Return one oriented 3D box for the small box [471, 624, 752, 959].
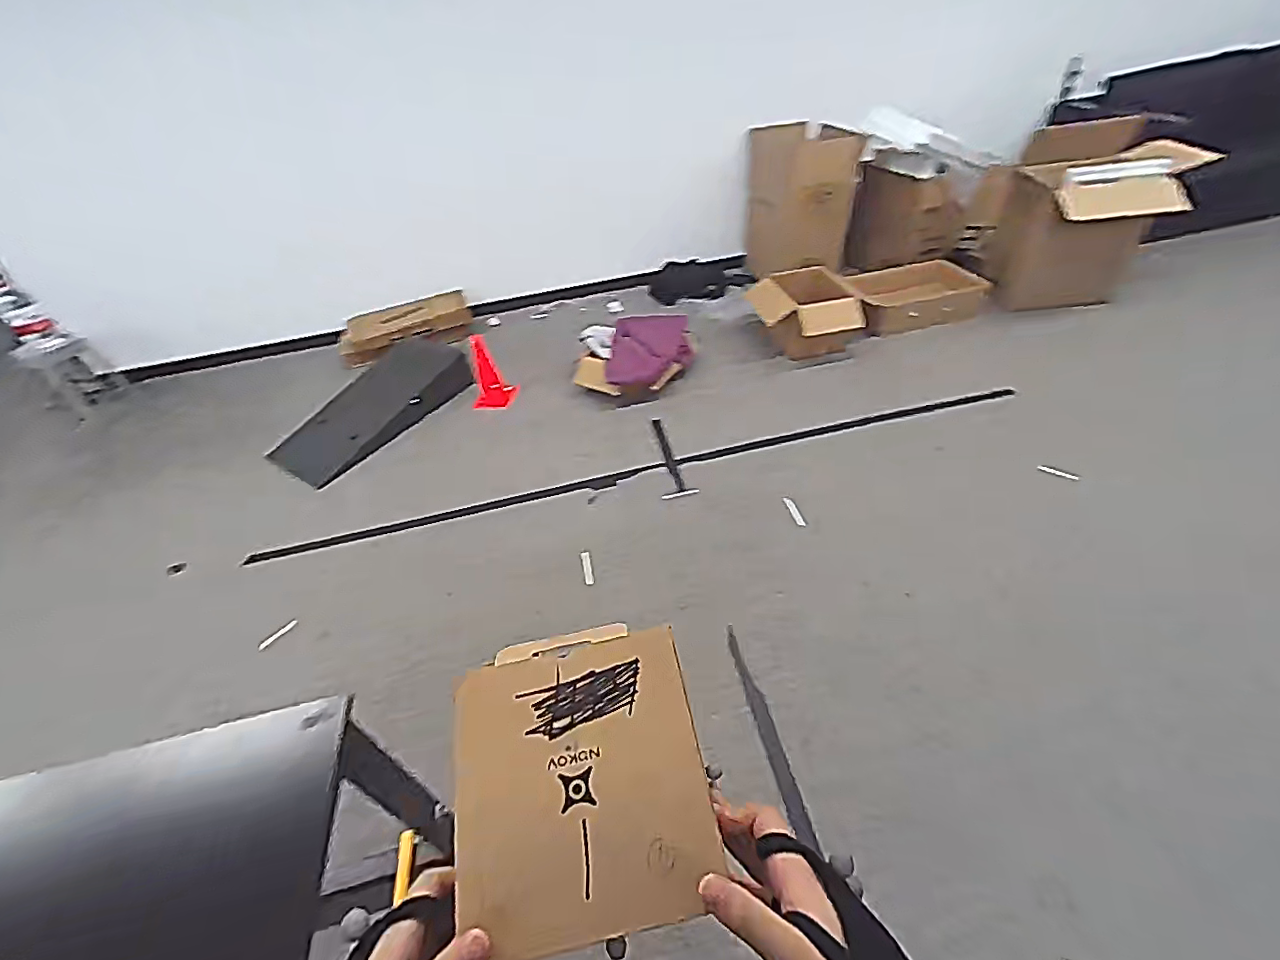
[{"bbox_3d":[-0.022,0.238,0.421,0.168,0.176,0.179,-11,54,-2],"label":"small box"}]
